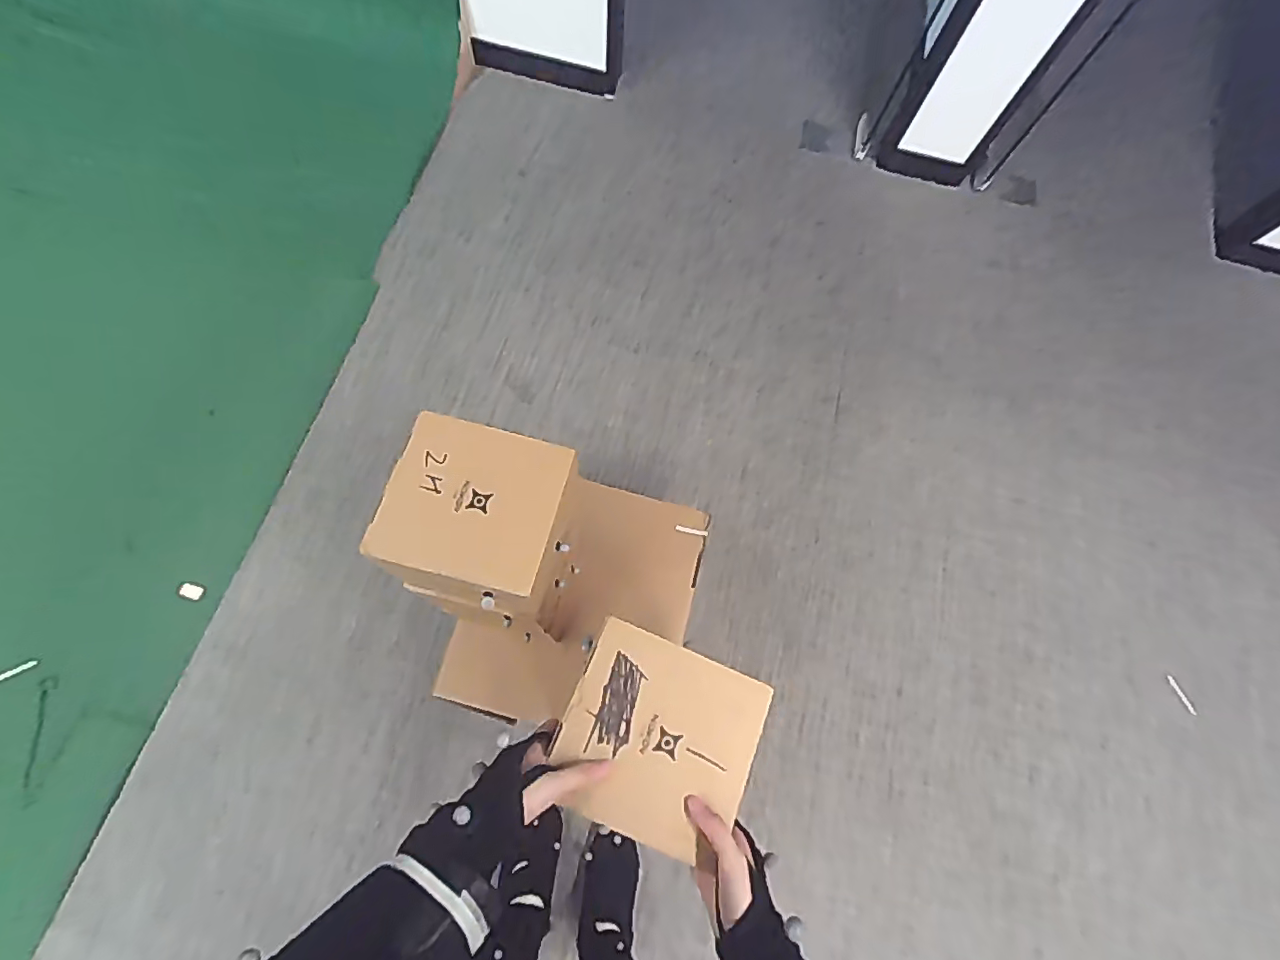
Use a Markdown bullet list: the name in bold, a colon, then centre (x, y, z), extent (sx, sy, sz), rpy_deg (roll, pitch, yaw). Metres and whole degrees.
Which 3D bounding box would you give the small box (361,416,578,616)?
- **small box**: centre (-0.178, 0.054, 0.632), extent (0.179, 0.176, 0.168), rpy_deg (15, 67, 1)

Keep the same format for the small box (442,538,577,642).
- **small box**: centre (-0.211, 0.177, 0.933), extent (0.179, 0.176, 0.168), rpy_deg (13, 68, 0)

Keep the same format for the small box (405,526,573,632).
- **small box**: centre (-0.203, 0.115, 0.783), extent (0.179, 0.176, 0.168), rpy_deg (15, 67, -1)

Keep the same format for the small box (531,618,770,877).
- **small box**: centre (0.006, 0.263, 0.566), extent (0.179, 0.176, 0.168), rpy_deg (24, 70, 2)
